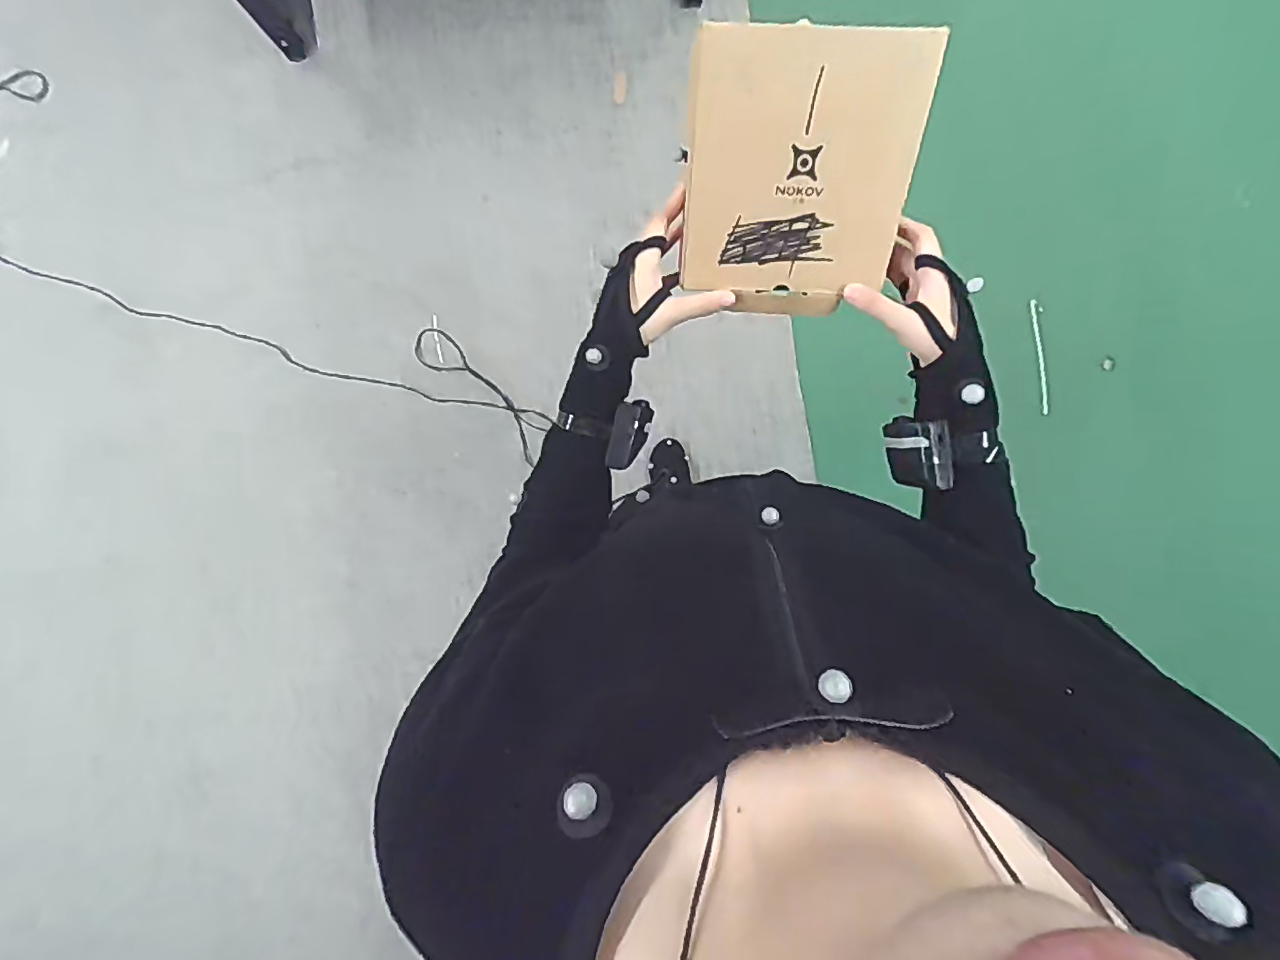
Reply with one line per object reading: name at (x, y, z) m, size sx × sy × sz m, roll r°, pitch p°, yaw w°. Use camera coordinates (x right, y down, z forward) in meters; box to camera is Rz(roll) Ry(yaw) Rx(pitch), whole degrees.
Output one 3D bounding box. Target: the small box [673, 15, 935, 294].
small box at (0.118, -0.277, 0.475) m, size 0.168 × 0.176 × 0.179 m, roll 3°, pitch 122°, yaw 1°
